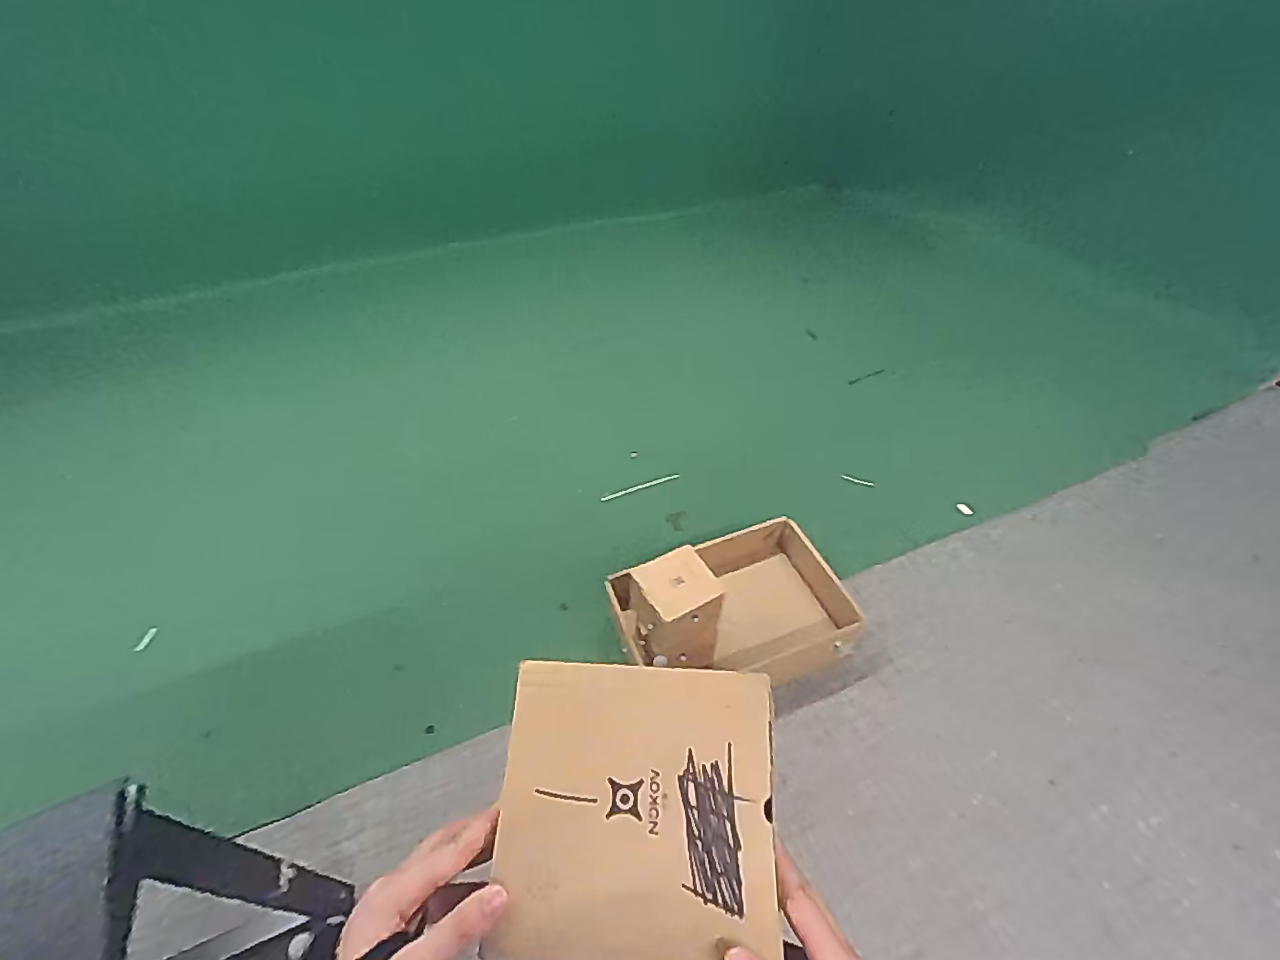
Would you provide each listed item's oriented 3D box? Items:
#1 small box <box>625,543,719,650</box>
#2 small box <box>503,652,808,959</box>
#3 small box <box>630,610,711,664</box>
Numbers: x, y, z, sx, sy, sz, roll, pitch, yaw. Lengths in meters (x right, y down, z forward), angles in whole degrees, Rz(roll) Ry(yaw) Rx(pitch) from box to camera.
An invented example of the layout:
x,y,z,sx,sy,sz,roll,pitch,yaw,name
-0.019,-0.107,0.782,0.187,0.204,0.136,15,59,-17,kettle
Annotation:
x,y,z,sx,sy,sz,roll,pitch,yaw,name
0.076,0.296,1.362,0.179,0.176,0.168,-22,52,-23,small box
0.013,0.233,0.410,0.179,0.176,0.168,4,63,2,small box
0.079,0.408,1.482,0.179,0.176,0.168,-15,49,-14,small box
